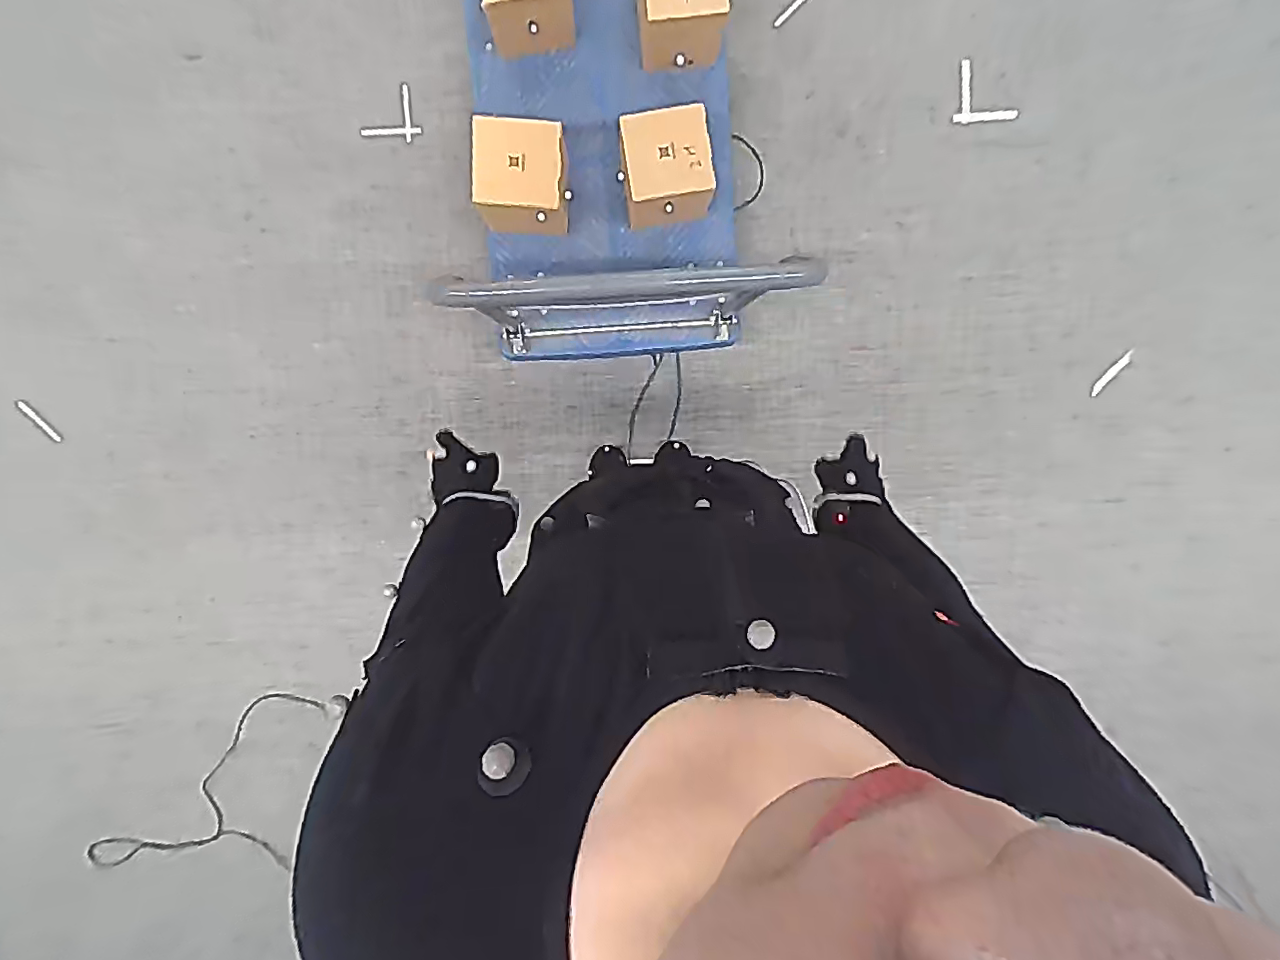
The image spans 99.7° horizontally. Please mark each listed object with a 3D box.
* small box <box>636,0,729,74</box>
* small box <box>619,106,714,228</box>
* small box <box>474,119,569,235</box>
[{"bbox_3d":[0.082,-1.005,1.140,0.168,0.176,0.179,-7,97,-1],"label":"small box"},{"bbox_3d":[0.053,-0.667,1.175,0.179,0.176,0.168,-10,96,-1],"label":"small box"},{"bbox_3d":[-0.250,-0.643,1.166,0.179,0.176,0.168,1,96,-4],"label":"small box"}]
